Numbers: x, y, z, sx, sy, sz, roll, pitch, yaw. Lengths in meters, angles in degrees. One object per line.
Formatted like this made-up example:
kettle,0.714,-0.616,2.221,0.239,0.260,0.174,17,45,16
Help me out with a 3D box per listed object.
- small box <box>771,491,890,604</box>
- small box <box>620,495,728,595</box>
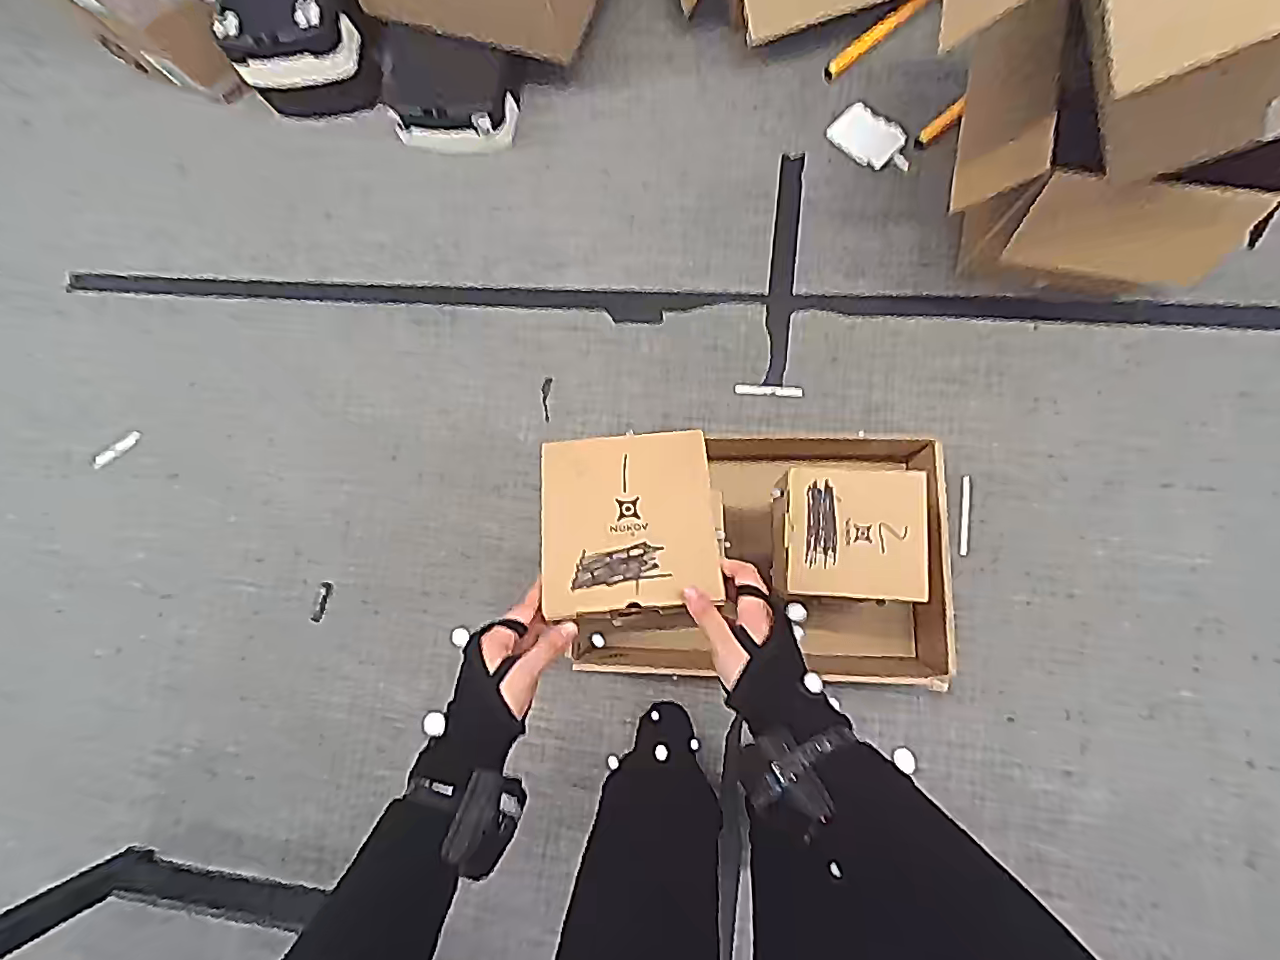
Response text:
small box,0.318,0.117,0.934,0.168,0.176,0.179,0,82,8
small box,0.061,0.117,0.964,0.179,0.176,0.168,-2,80,6
